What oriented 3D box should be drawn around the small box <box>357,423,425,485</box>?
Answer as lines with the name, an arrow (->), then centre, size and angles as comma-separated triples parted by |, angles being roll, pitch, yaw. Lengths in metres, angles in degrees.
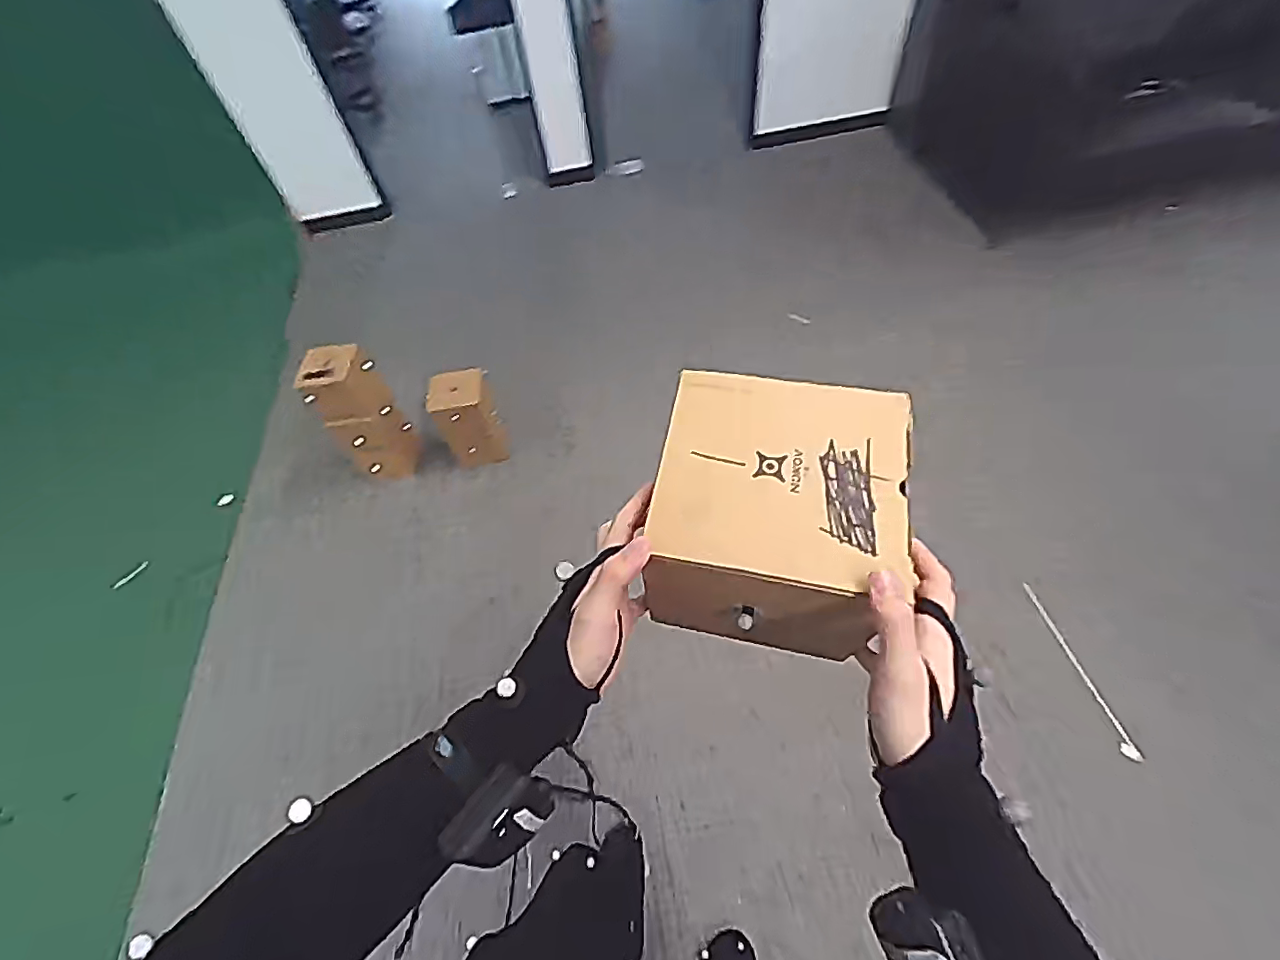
small box -> -0.924, -0.095, 2.024 | 0.168, 0.176, 0.179 | -8, 54, 1

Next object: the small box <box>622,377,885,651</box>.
small box -> 0.094, 0.037, 0.467 | 0.179, 0.176, 0.168 | 8, 59, 10

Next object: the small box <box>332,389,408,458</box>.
small box -> -0.934, -0.191, 1.890 | 0.168, 0.176, 0.179 | -6, 54, 1

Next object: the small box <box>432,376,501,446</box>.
small box -> -0.599, -0.235, 1.884 | 0.179, 0.176, 0.168 | -8, 55, 0

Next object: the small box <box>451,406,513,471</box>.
small box -> -0.586, -0.150, 2.023 | 0.179, 0.176, 0.168 | -10, 55, 0
